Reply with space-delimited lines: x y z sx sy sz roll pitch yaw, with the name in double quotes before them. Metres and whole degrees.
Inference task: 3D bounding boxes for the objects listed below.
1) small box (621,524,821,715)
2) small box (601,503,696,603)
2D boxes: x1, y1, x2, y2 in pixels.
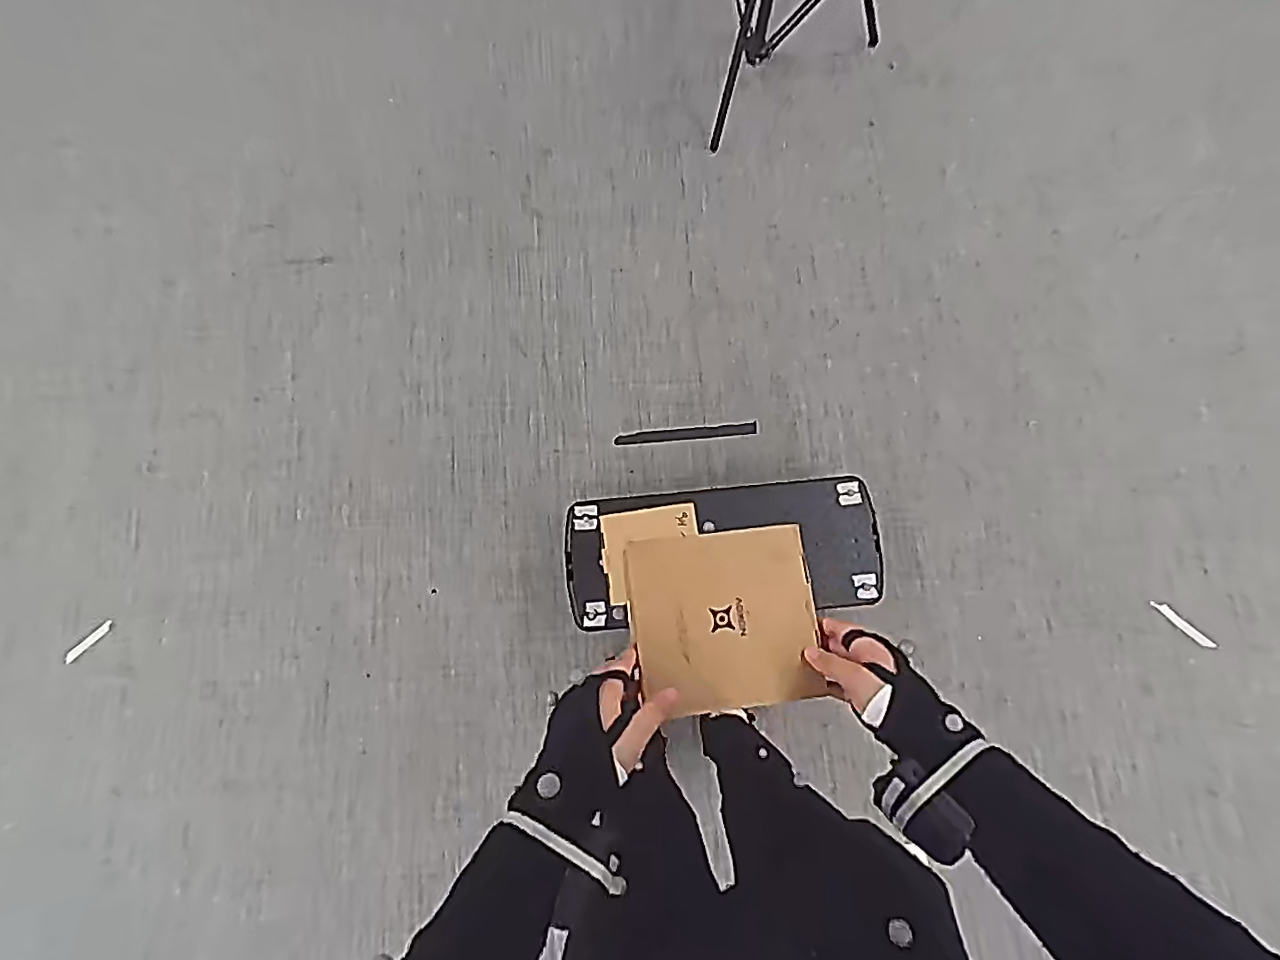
"small box" 0.074 0.147 0.602 0.179 0.176 0.168 -7 78 -4
"small box" 0.022 0.146 1.057 0.179 0.176 0.168 -8 80 0
